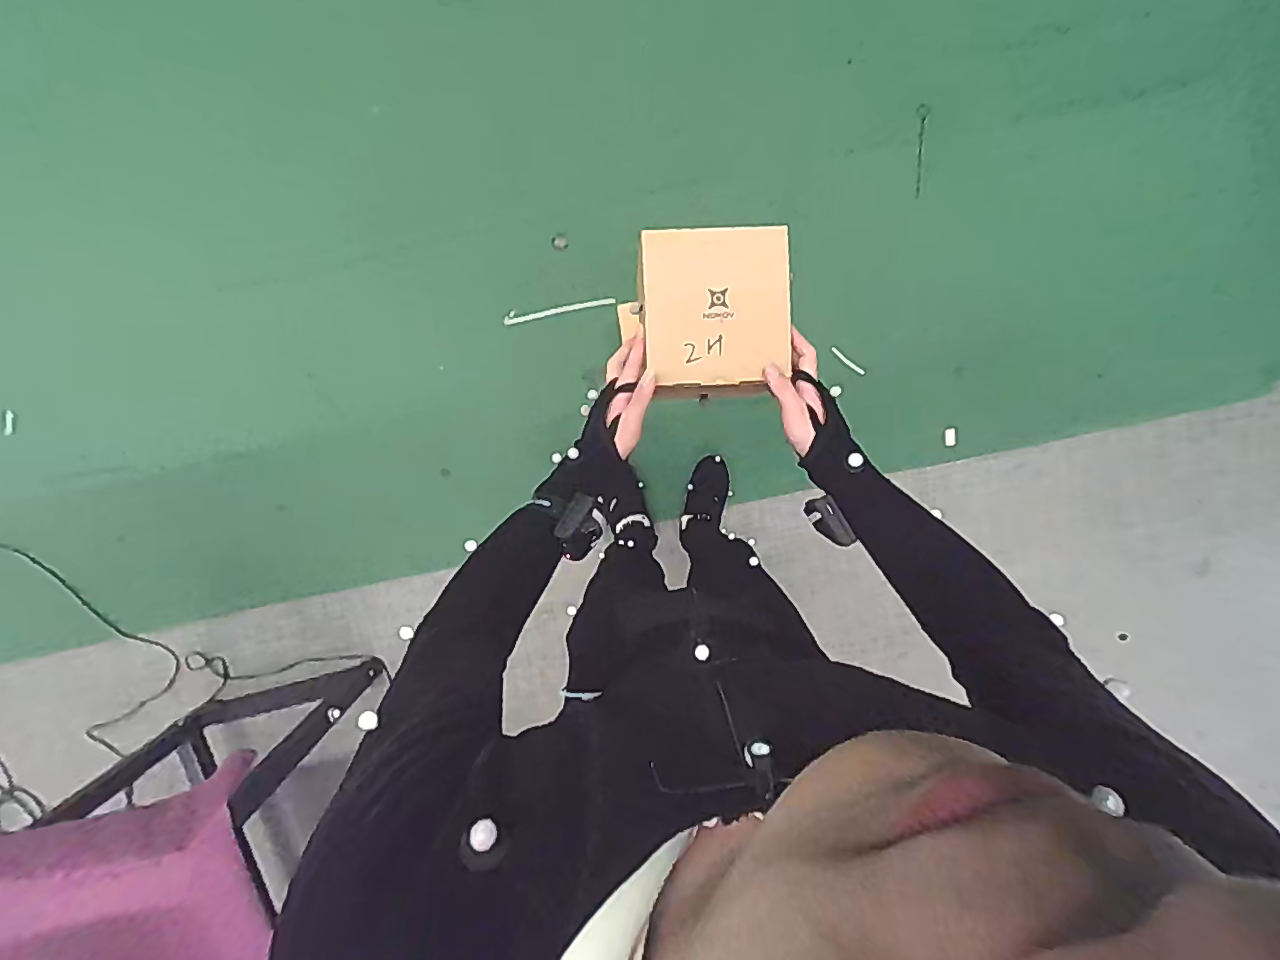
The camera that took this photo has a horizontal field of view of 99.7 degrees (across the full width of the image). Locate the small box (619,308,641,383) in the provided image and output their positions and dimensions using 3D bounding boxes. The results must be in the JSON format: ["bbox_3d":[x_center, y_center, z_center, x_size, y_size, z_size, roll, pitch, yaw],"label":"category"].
[{"bbox_3d":[0.035,-0.357,1.430,0.168,0.176,0.179,-9,99,1],"label":"small box"}]

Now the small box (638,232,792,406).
[{"bbox_3d":[0.084,-0.189,0.677,0.168,0.176,0.179,-2,93,-2],"label":"small box"}]
